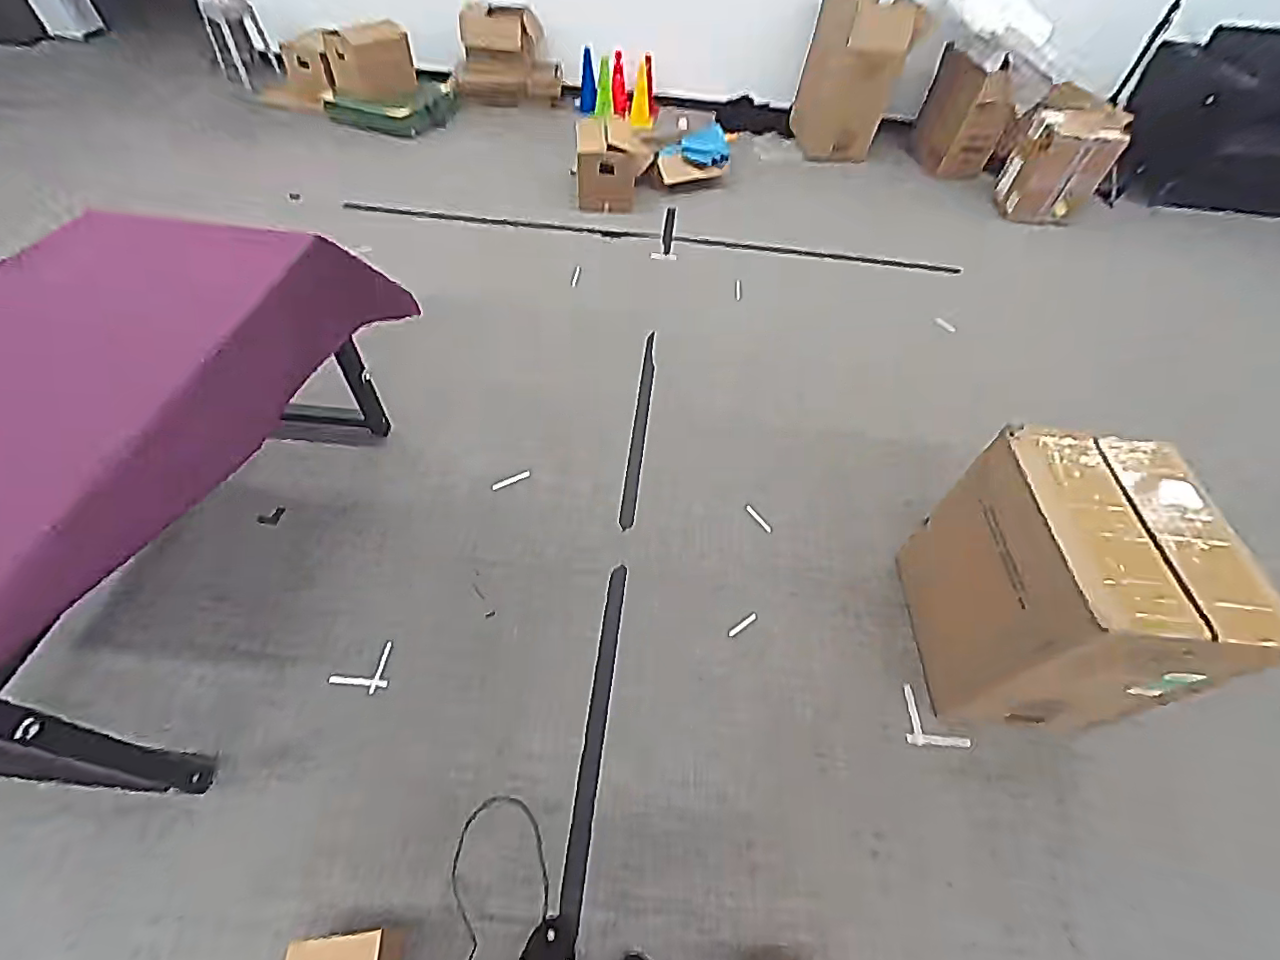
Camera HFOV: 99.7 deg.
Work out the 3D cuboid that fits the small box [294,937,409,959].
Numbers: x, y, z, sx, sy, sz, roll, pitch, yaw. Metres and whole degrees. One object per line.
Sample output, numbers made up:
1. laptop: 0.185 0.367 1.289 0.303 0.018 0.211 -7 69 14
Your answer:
1. small box: -0.548 0.980 1.013 0.168 0.176 0.179 -3 50 -7
